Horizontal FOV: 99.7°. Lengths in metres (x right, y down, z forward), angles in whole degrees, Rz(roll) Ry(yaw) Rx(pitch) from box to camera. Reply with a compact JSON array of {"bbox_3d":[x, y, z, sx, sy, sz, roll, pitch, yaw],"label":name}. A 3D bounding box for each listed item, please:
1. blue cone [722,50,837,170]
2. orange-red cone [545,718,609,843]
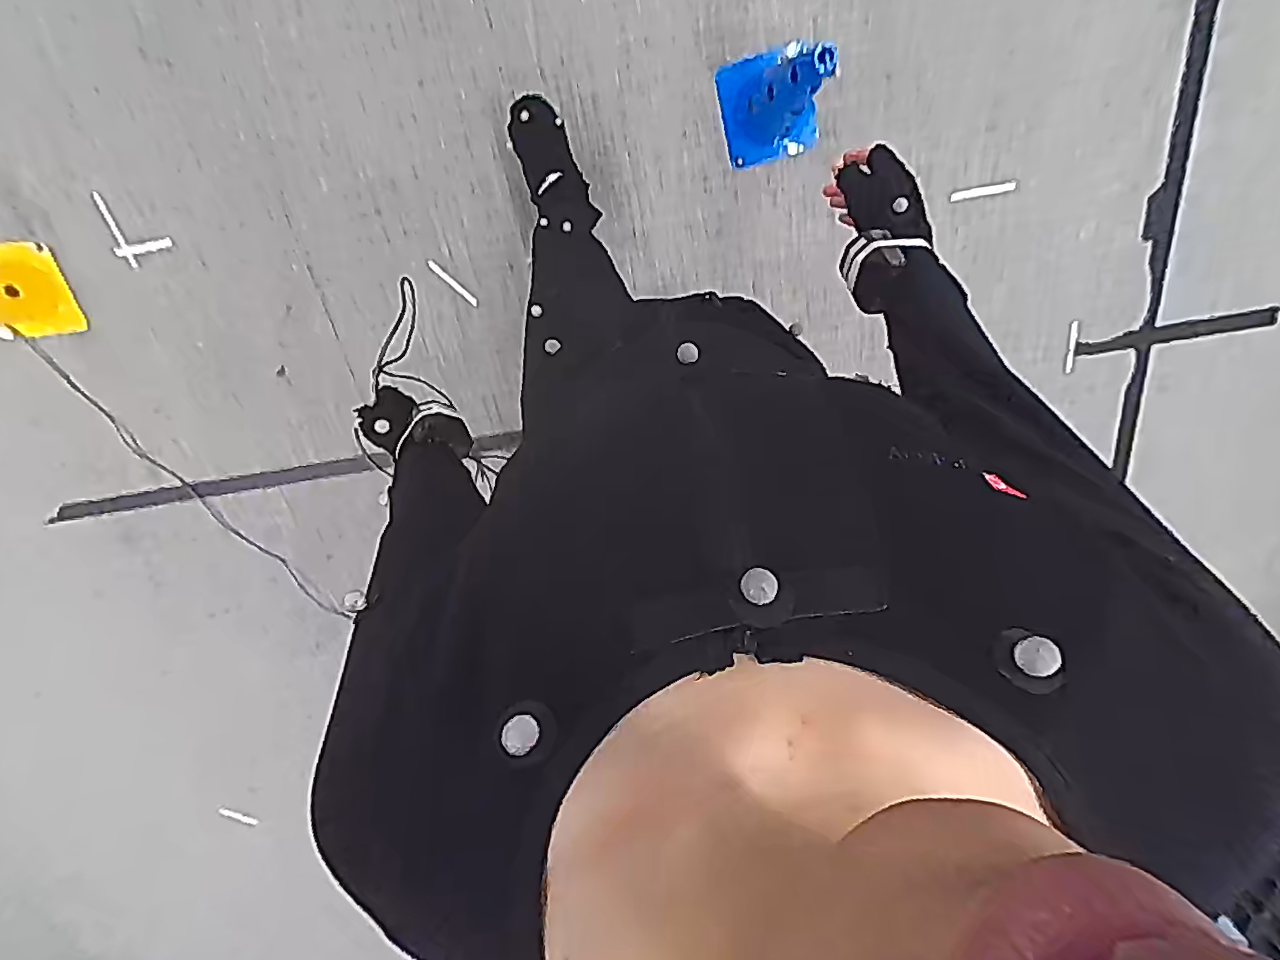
[{"bbox_3d":[0.284,-0.728,1.015,0.193,0.380,0.192,-15,114,4],"label":"blue cone"},{"bbox_3d":[-0.215,1.004,1.779,0.199,0.360,0.198,-14,115,3],"label":"orange-red cone"}]
